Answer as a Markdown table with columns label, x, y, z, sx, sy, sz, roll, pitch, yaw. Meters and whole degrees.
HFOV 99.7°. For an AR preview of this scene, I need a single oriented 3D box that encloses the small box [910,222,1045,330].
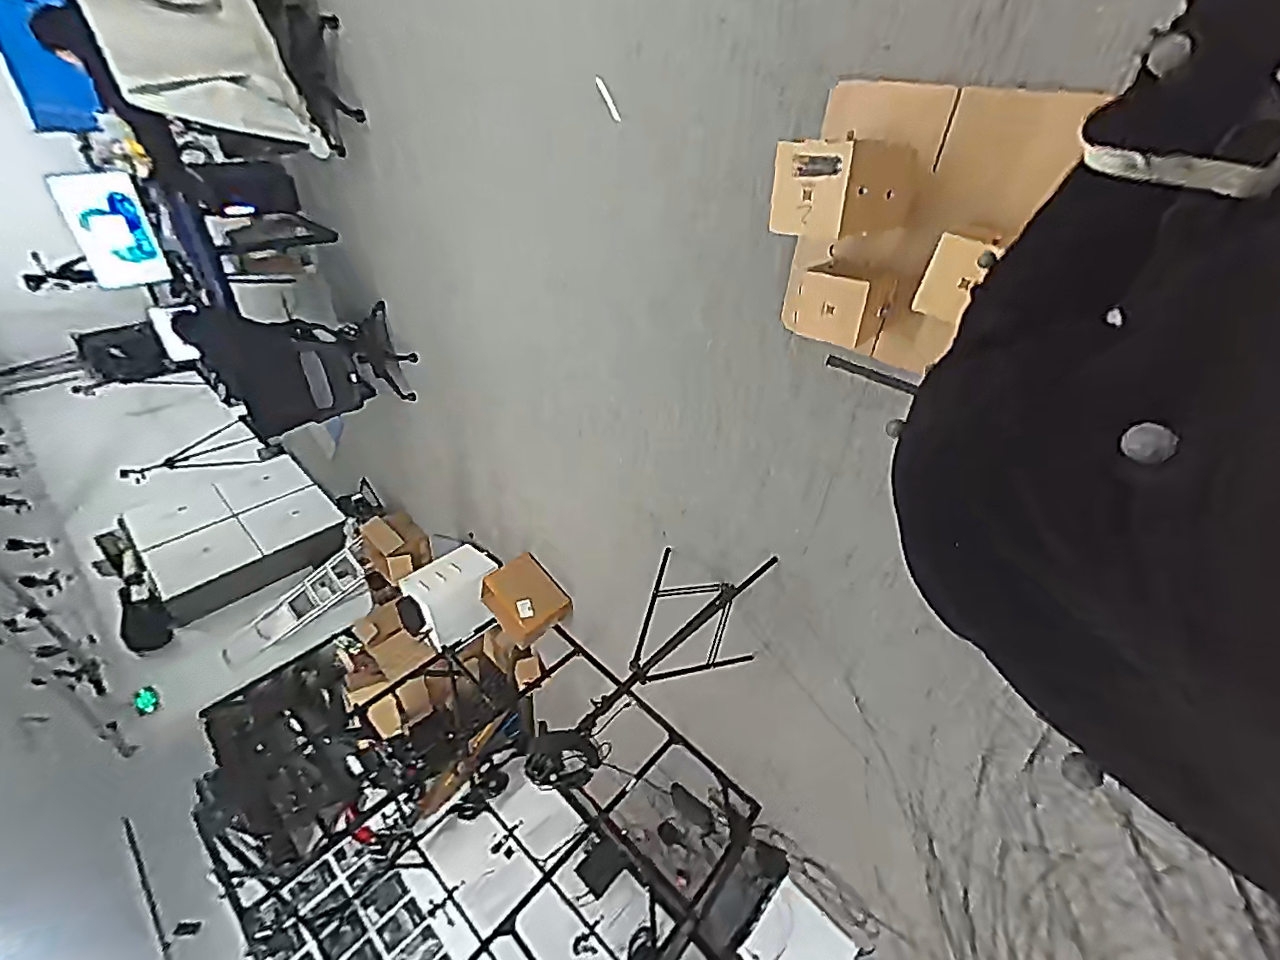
| label | x | y | z | sx | sy | sz | roll | pitch | yaw |
| --- | --- | --- | --- | --- | --- | --- | --- | --- | --- |
| small box | 0.729 | -0.449 | 1.170 | 0.179 | 0.176 | 0.168 | 33 | 135 | 27 |

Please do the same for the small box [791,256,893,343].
| label | x | y | z | sx | sy | sz | roll | pitch | yaw |
| --- | --- | --- | --- | --- | --- | --- | --- | --- | --- |
| small box | 0.517 | -0.470 | 1.389 | 0.179 | 0.176 | 0.168 | 26 | 133 | 34 |

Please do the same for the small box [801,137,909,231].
| label | x | y | z | sx | sy | sz | roll | pitch | yaw |
| --- | --- | --- | --- | --- | --- | --- | --- | --- | --- |
| small box | 0.500 | -0.693 | 1.256 | 0.168 | 0.176 | 0.179 | 27 | 132 | 33 |
